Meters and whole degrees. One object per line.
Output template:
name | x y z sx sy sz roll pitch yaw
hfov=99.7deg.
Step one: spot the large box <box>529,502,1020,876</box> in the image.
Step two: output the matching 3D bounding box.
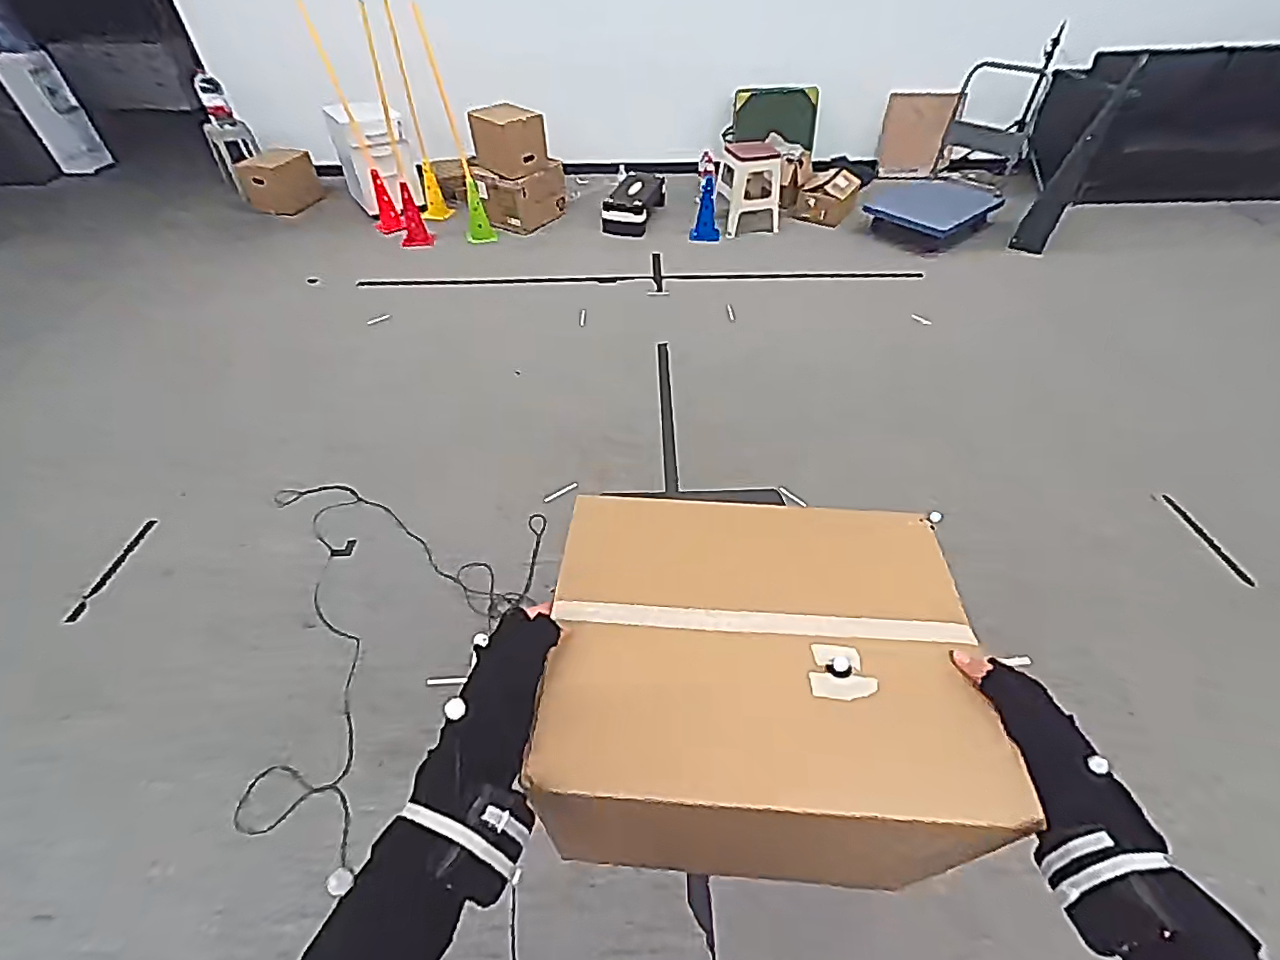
large box | 0.111 0.246 0.642 0.408 0.320 0.320 3 46 3
